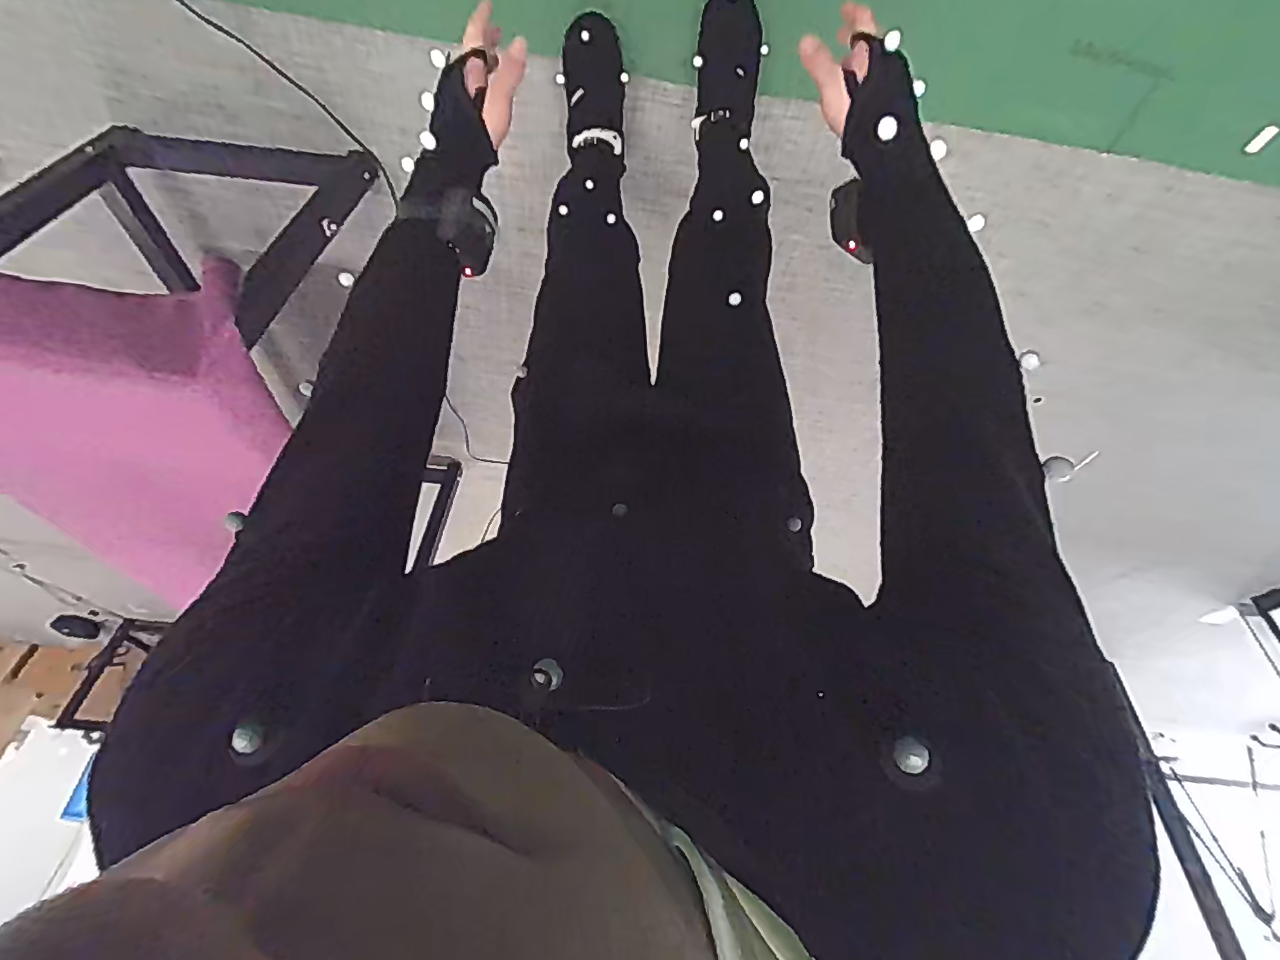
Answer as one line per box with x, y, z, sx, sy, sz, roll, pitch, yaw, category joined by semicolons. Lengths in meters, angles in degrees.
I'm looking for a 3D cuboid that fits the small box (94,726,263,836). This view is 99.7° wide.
-0.905;0.605;1.089;0.179;0.176;0.168;6;141;-1;small box
